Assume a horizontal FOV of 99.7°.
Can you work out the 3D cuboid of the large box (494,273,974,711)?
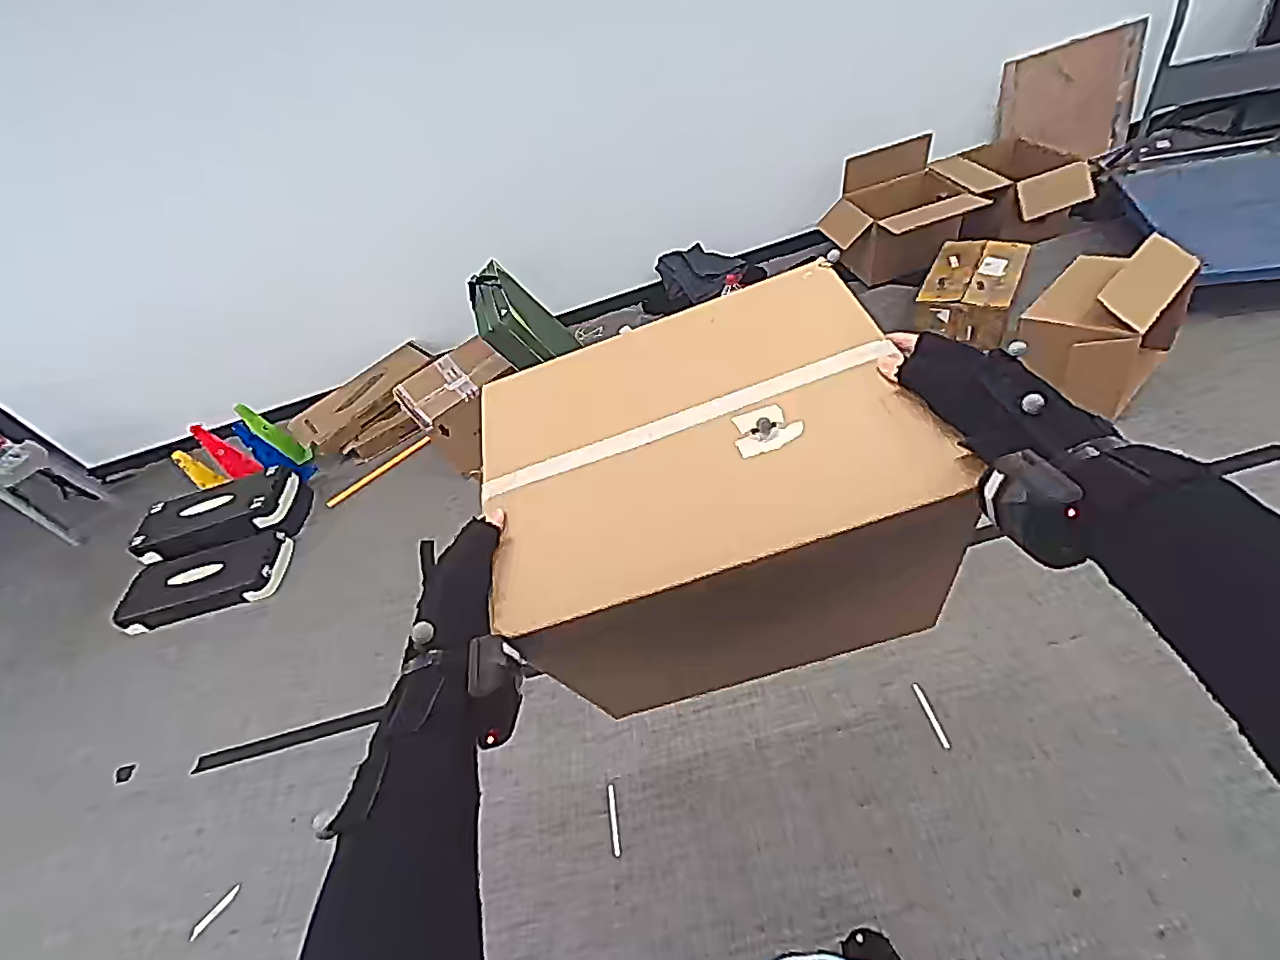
[{"bbox_3d":[0.084,0.032,0.643,0.408,0.320,0.320,-19,53,5],"label":"large box"}]
